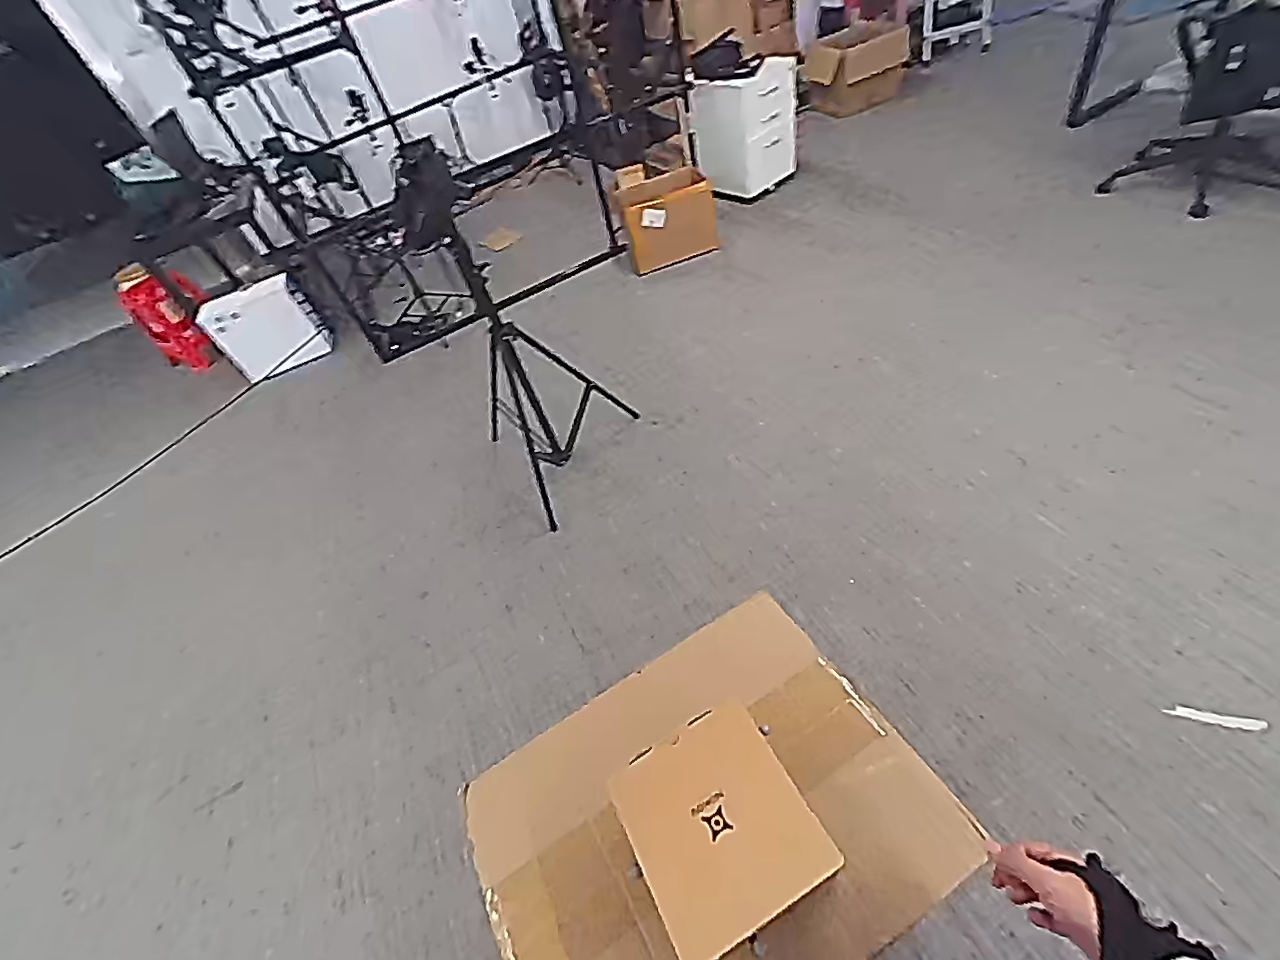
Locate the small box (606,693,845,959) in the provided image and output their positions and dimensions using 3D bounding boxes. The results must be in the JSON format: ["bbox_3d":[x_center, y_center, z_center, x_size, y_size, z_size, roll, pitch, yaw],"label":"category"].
[{"bbox_3d":[0.090,0.366,0.567,0.168,0.176,0.179,-28,47,-10],"label":"small box"}]
